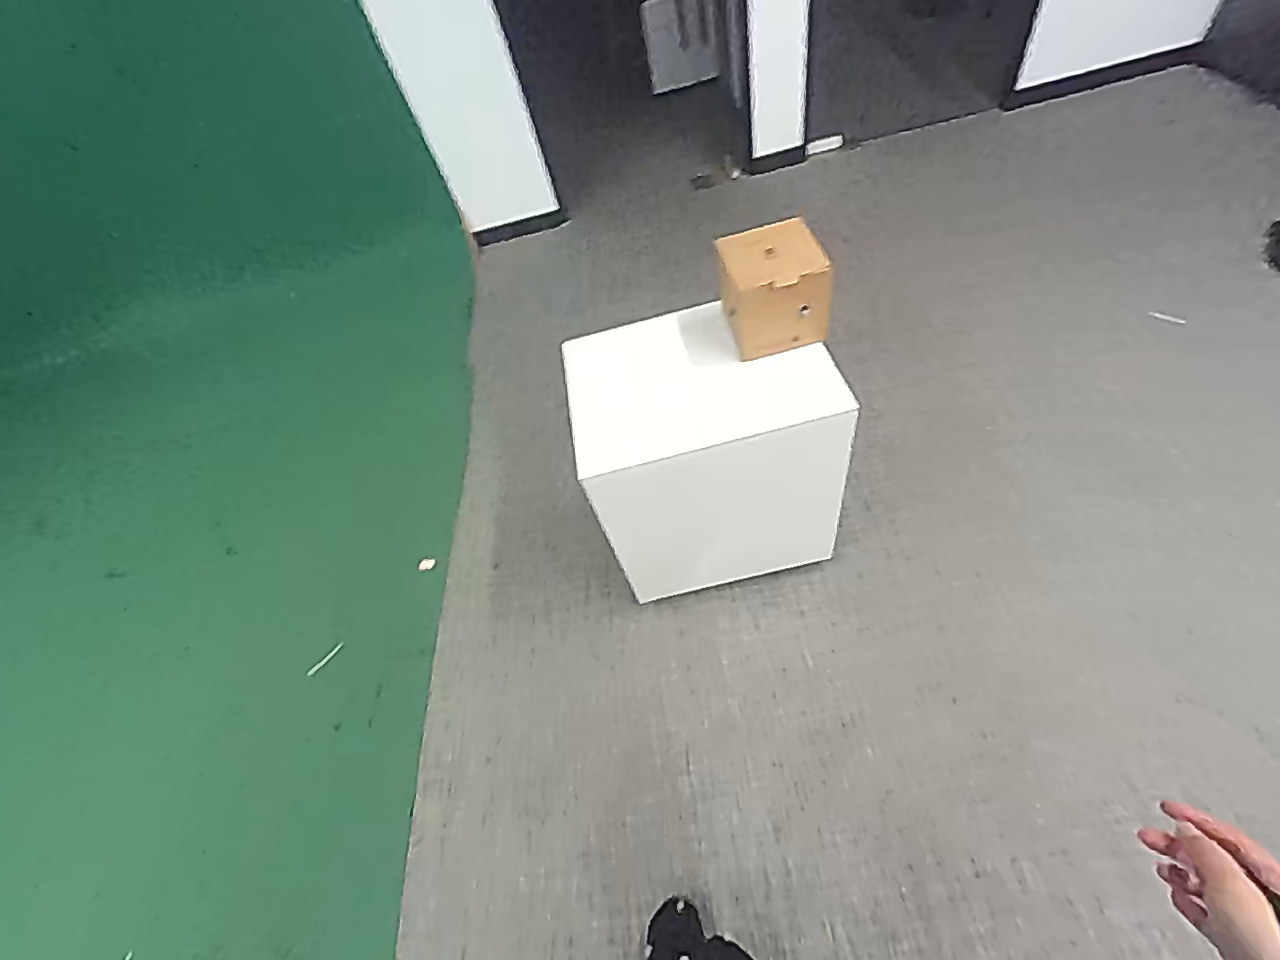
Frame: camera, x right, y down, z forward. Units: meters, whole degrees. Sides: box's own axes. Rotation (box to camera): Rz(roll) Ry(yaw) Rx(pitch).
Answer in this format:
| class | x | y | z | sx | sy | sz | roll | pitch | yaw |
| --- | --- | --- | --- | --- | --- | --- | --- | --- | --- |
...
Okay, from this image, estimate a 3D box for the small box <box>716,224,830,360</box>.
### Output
| class | x | y | z | sx | sy | sz | roll | pitch | yaw |
| --- | --- | --- | --- | --- | --- | --- | --- | --- | --- |
| small box | 0.253 | -0.351 | 1.040 | 0.168 | 0.176 | 0.179 | -14 | 51 | 3 |
